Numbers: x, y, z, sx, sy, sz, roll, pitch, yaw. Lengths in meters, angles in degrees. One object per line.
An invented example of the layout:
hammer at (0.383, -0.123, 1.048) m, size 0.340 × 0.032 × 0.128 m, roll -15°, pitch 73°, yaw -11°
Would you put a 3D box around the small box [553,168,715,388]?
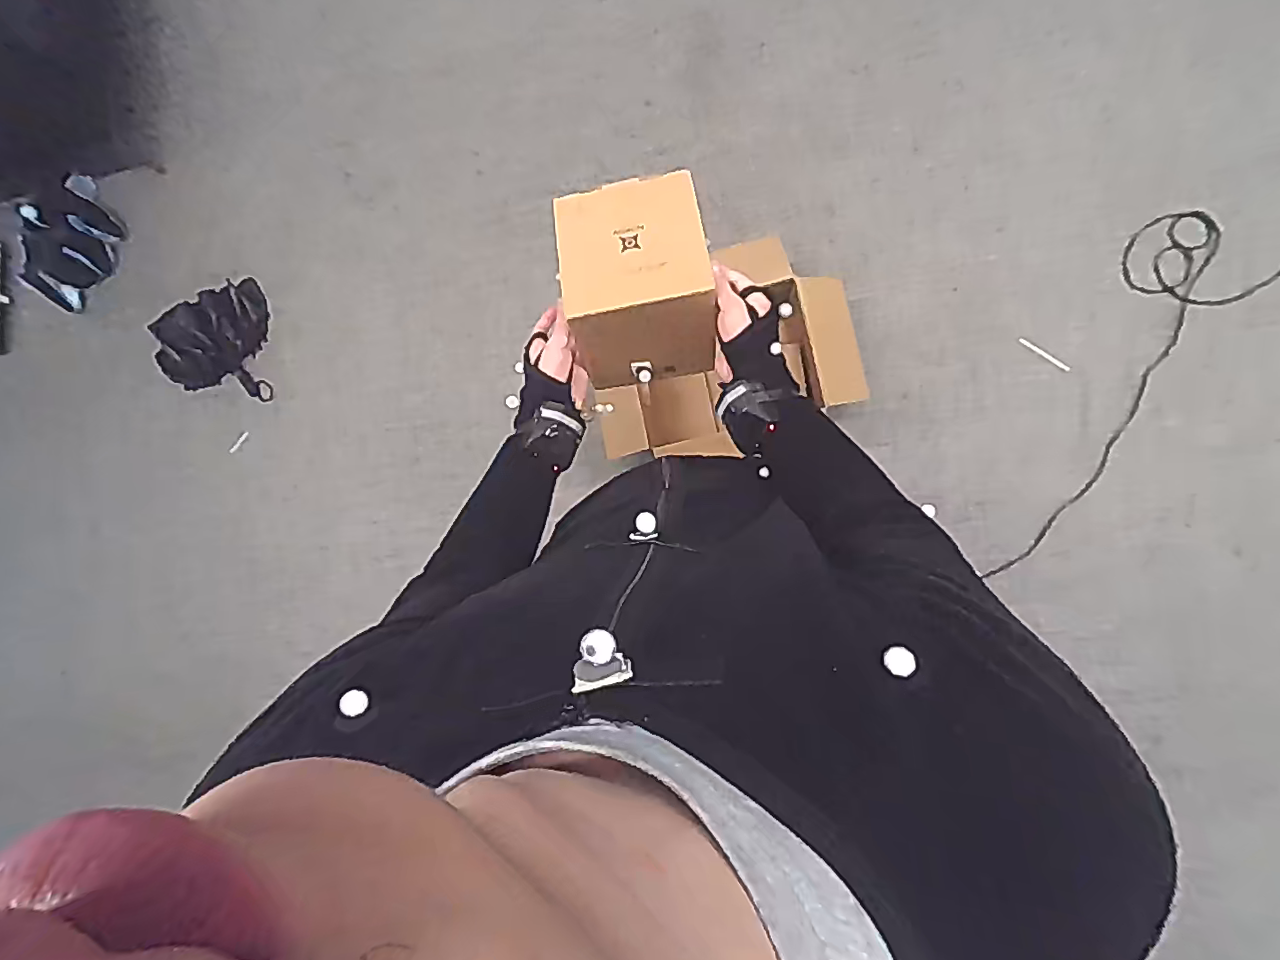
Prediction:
small box at (-0.003, -0.241, 0.673) m, size 0.168 × 0.176 × 0.179 m, roll -10°, pitch 70°, yaw 5°
